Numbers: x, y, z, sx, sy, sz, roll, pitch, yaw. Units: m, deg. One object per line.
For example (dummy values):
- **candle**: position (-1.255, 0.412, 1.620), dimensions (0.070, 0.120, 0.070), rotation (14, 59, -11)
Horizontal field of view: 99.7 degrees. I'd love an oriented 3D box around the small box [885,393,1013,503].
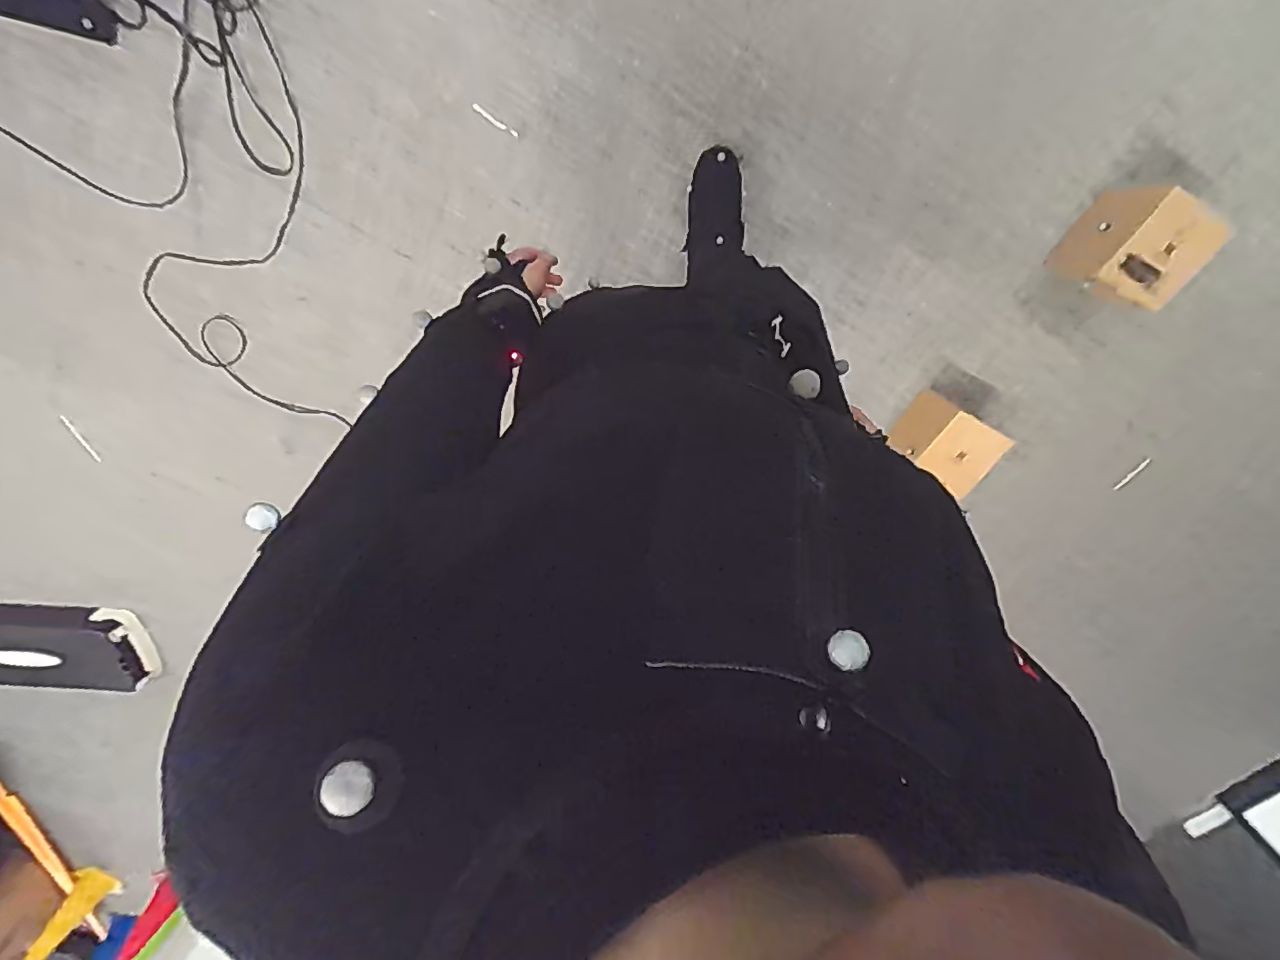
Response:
- **small box**: position (0.725, -0.082, 1.294), dimensions (0.168, 0.176, 0.179), rotation (25, 116, -12)
